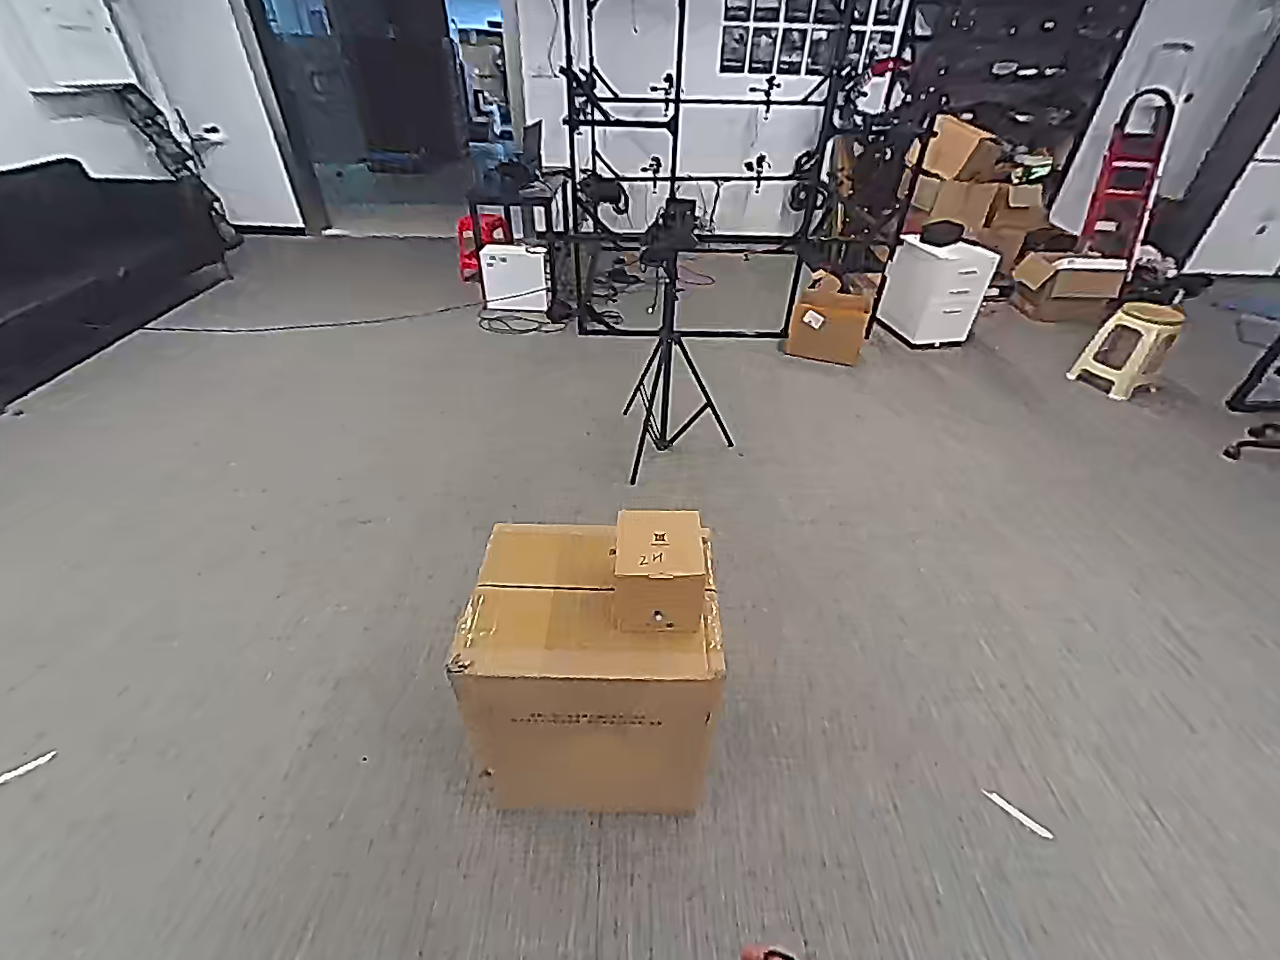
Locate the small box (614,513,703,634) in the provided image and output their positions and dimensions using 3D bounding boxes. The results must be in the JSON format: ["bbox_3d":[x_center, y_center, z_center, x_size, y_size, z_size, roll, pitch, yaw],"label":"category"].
[{"bbox_3d":[0.033,0.185,1.086,0.168,0.176,0.179,0,39,0],"label":"small box"}]
